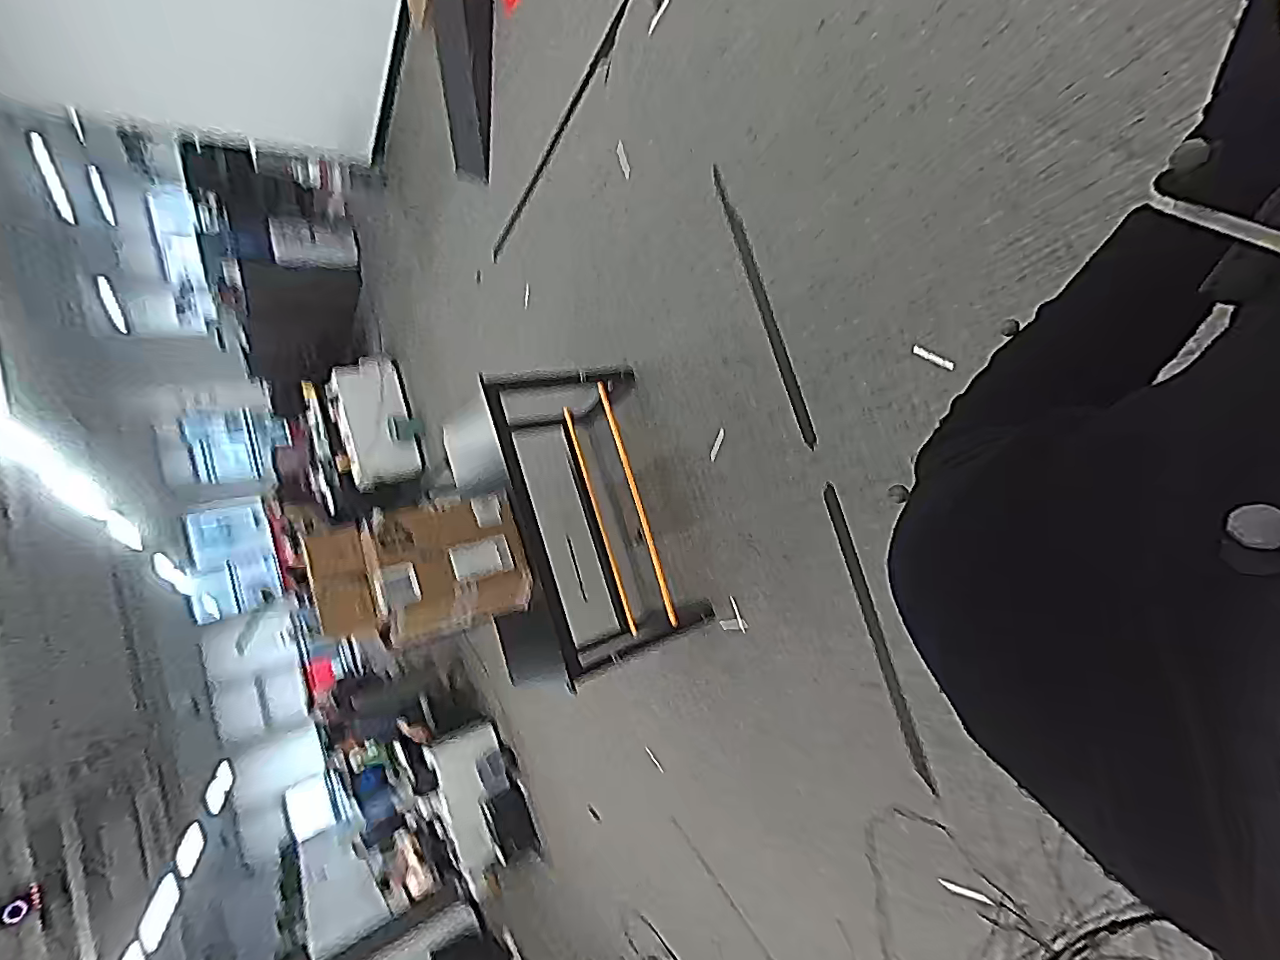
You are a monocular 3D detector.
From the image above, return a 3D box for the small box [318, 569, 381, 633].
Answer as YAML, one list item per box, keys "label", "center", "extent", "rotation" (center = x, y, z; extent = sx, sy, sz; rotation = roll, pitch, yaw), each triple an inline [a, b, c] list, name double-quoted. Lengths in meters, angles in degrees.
- label: "small box"
  center: [-1.031, 0.430, 1.920]
  extent: [0.179, 0.176, 0.168]
  rotation: [-38, 69, 53]

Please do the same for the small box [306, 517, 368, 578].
- label: "small box"
  center: [-1.085, 0.240, 1.940]
  extent: [0.179, 0.176, 0.168]
  rotation: [-31, 72, 53]
